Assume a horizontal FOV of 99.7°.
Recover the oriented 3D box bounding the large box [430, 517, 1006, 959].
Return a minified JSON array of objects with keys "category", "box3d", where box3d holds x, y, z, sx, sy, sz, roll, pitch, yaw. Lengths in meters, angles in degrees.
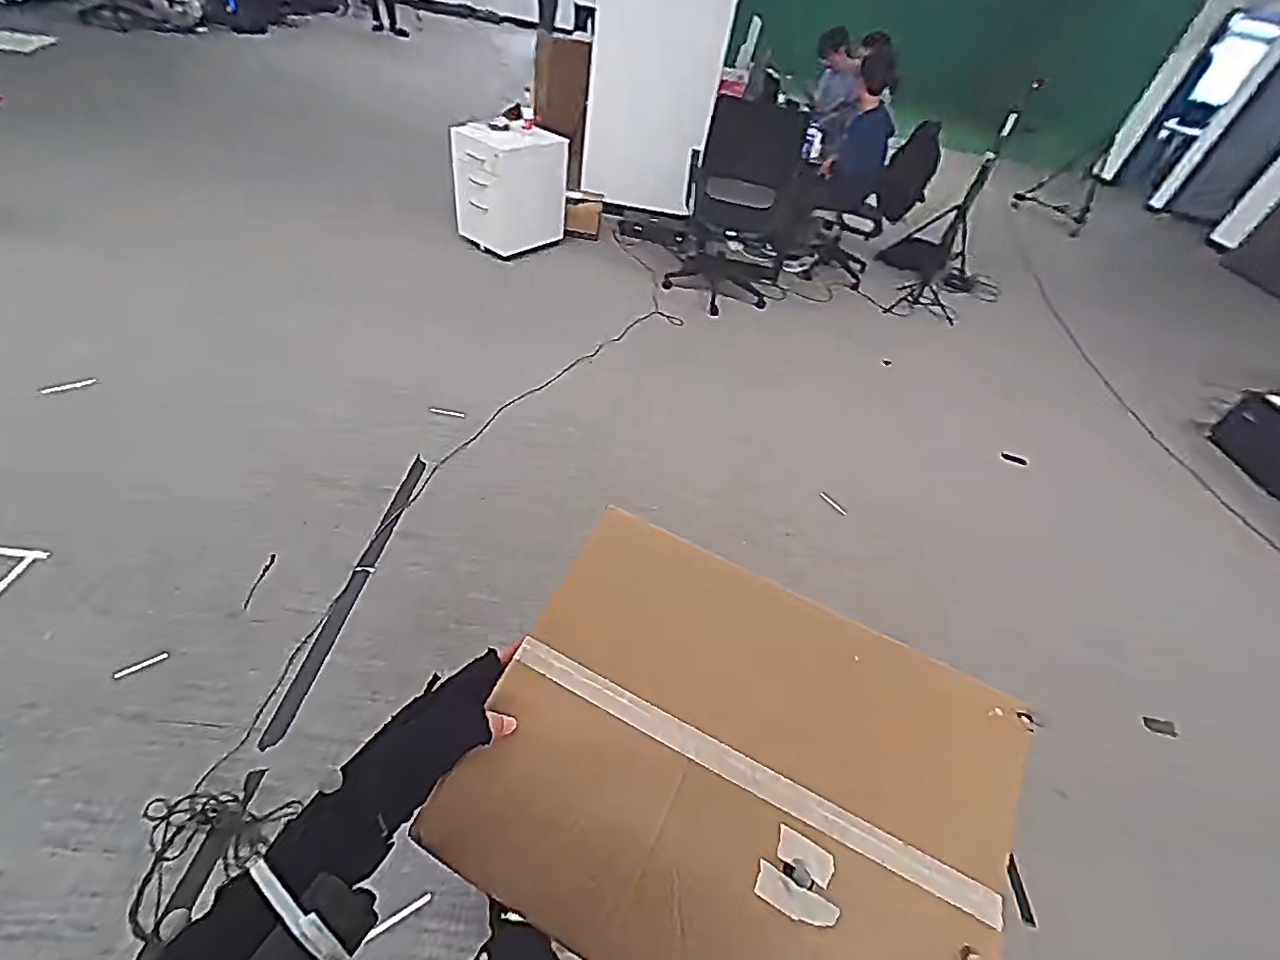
[{"category":"large box","box3d":[0.073,0.303,0.575,0.408,0.320,0.320,25,64,11]}]
